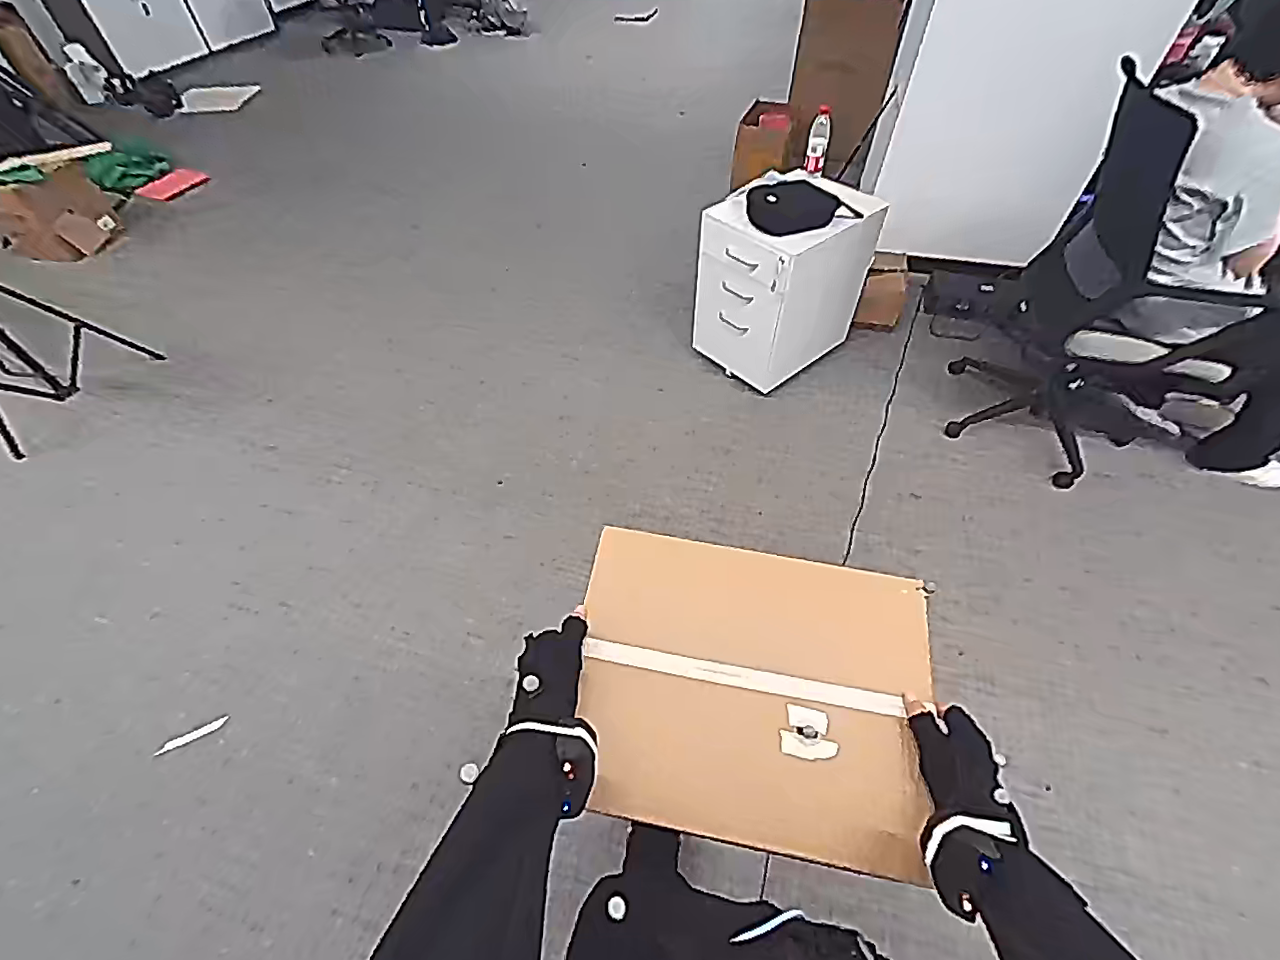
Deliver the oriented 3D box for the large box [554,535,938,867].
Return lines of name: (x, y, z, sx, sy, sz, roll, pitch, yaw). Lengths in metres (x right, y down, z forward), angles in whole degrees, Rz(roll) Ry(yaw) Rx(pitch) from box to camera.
large box: (0.125, 0.306, 0.755, 0.408, 0.320, 0.320, 9, 60, 5)
